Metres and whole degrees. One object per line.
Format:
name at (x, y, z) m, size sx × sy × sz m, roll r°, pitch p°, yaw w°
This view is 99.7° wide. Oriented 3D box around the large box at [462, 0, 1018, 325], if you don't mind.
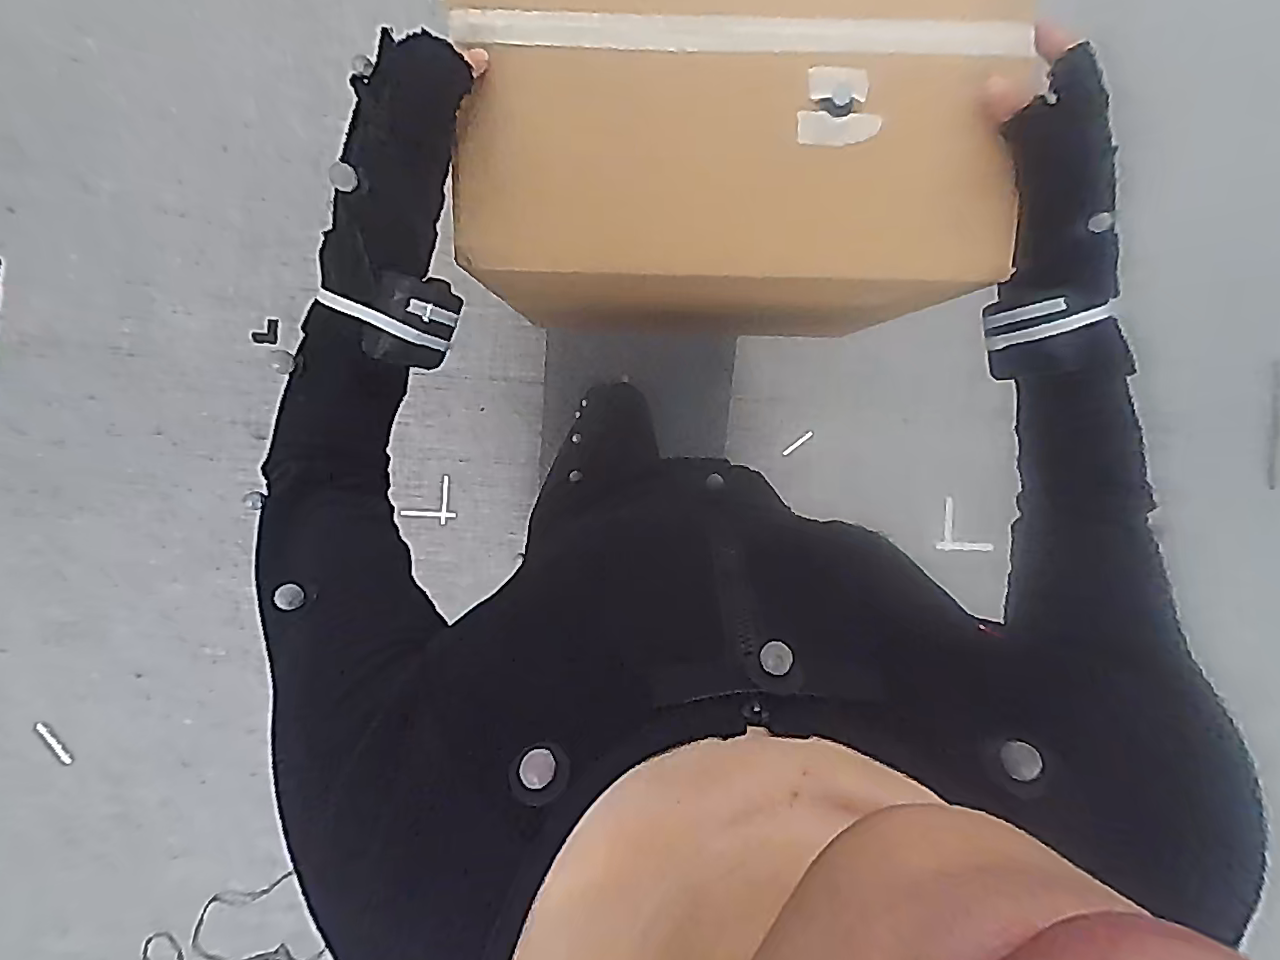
large box at (0.067, -0.336, 0.535) m, size 0.408 × 0.320 × 0.320 m, roll 1°, pitch 98°, yaw -1°
